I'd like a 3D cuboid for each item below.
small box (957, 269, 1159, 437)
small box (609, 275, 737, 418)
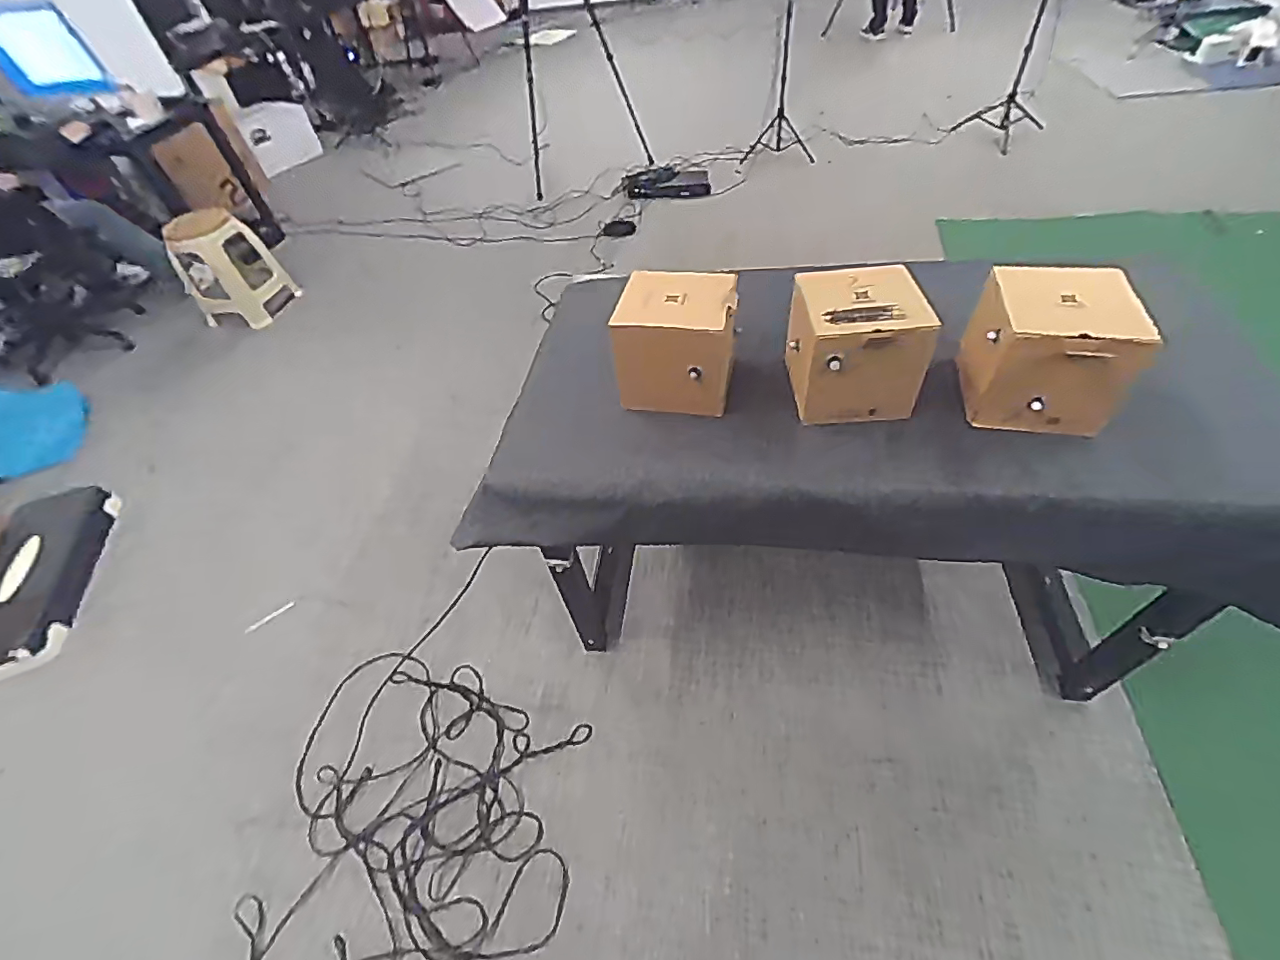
[{"bbox_3d":[0.591,-0.188,0.798,0.168,0.176,0.179,7,50,13],"label":"small box"},{"bbox_3d":[0.063,-0.220,0.898,0.179,0.176,0.168,5,48,13],"label":"small box"}]
